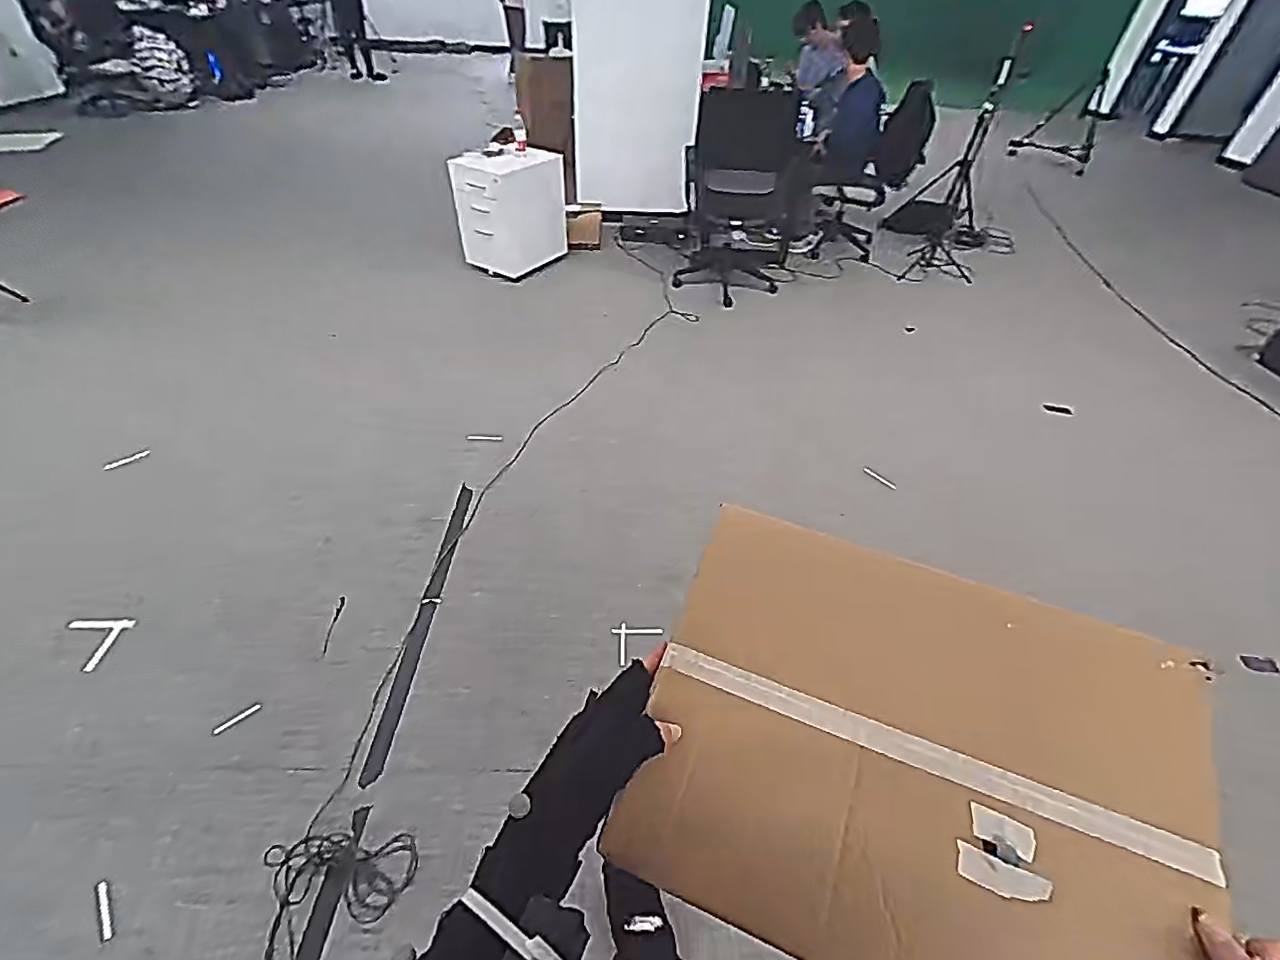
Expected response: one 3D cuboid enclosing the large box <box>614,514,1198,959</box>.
[{"bbox_3d":[0.224,0.285,0.568,0.408,0.320,0.320,18,65,14],"label":"large box"}]
